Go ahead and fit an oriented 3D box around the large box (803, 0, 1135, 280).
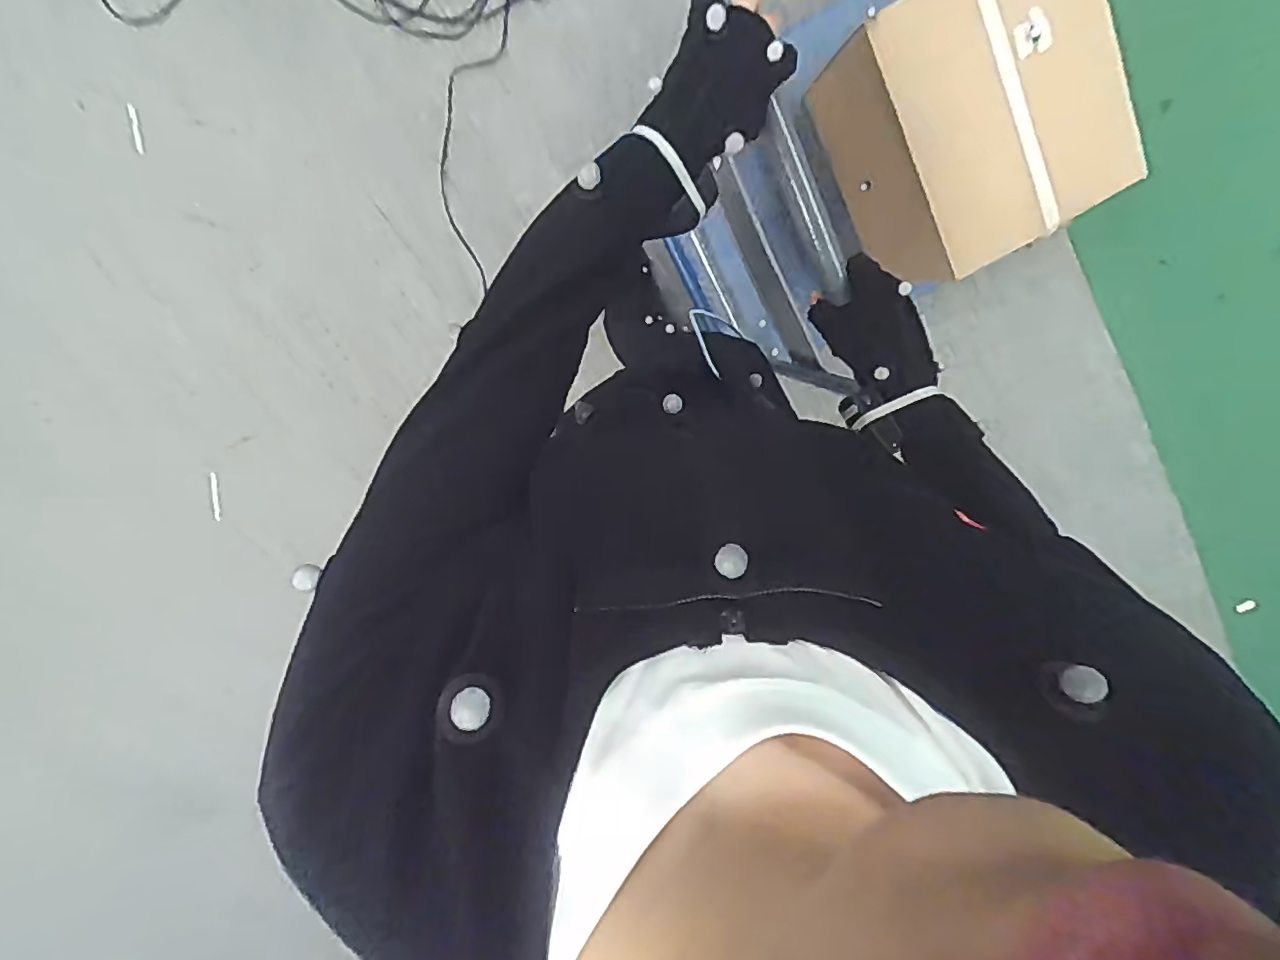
[{"bbox_3d":[0.545,-0.619,0.958,0.320,0.320,0.408,-29,106,8],"label":"large box"}]
